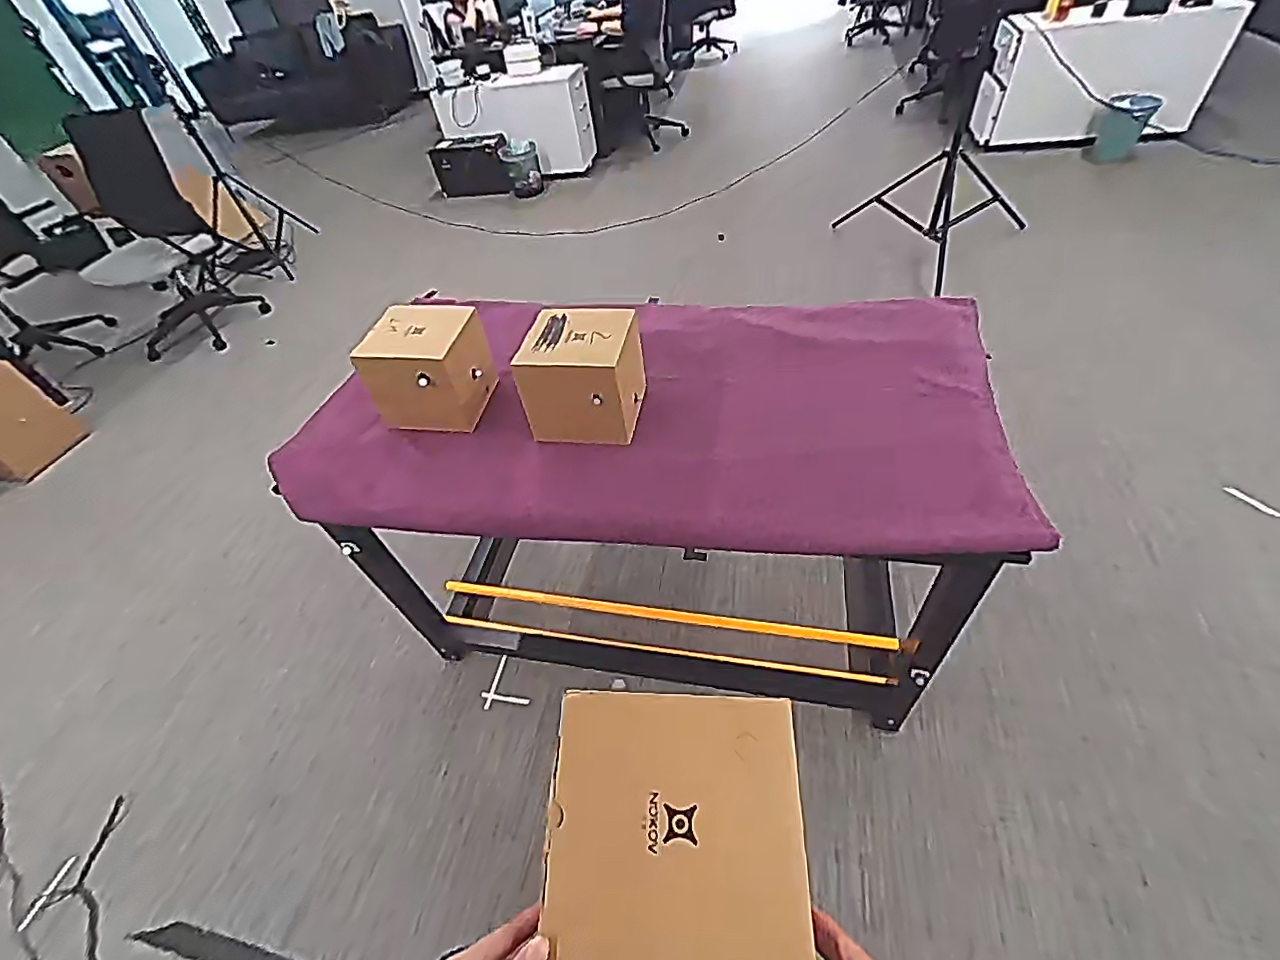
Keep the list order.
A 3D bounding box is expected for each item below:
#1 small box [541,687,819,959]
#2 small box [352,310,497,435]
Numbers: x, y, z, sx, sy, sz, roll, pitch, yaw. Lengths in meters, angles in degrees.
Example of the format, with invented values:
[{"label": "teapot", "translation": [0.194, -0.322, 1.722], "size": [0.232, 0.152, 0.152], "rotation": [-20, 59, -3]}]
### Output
[{"label": "small box", "translation": [0.033, 0.273, 0.443], "size": [0.179, 0.176, 0.168], "rotation": [-1, 58, 6]}, {"label": "small box", "translation": [-0.390, -0.200, 1.021], "size": [0.179, 0.176, 0.168], "rotation": [3, 48, 9]}]
